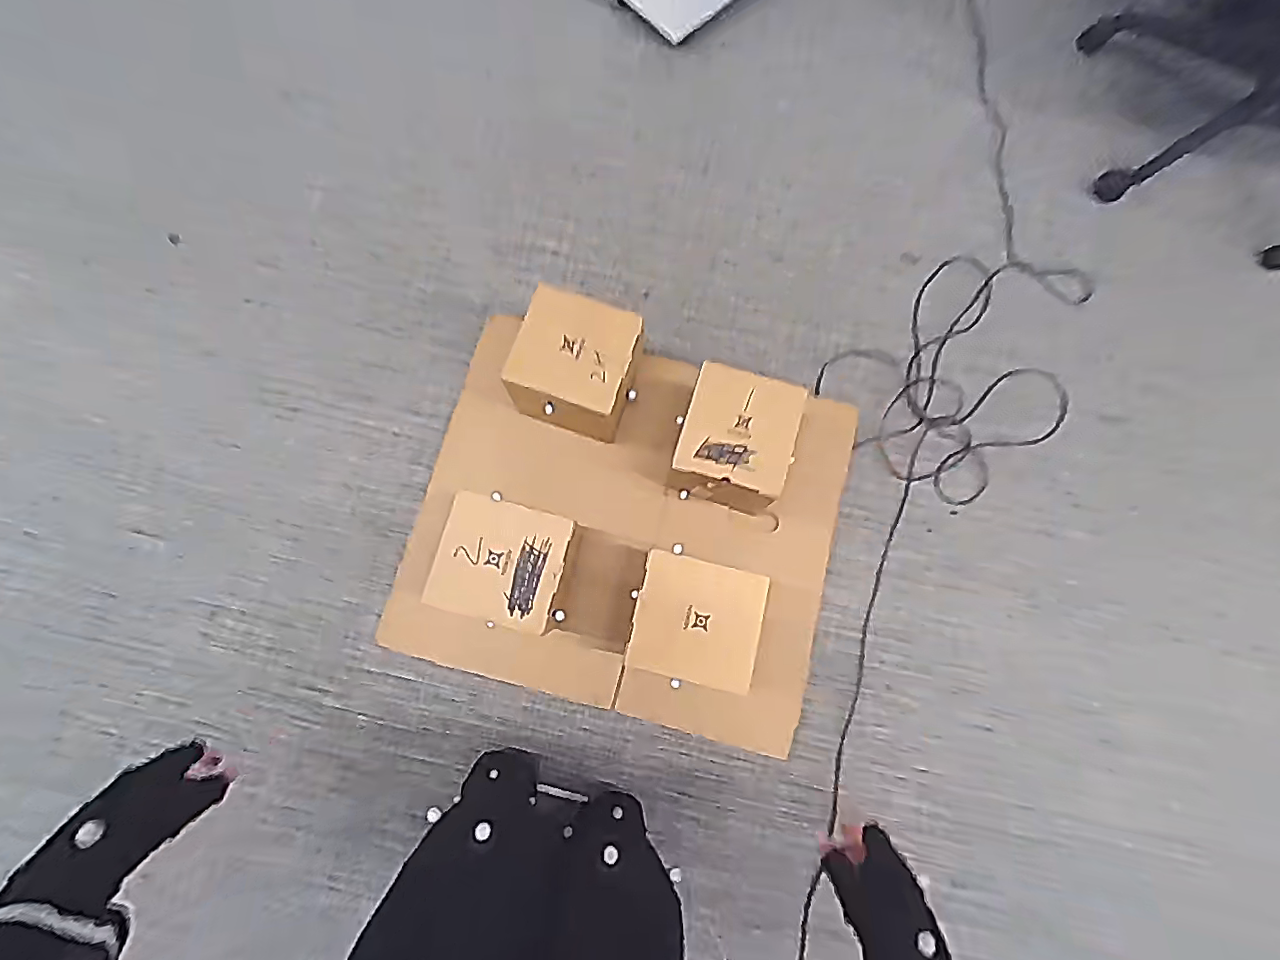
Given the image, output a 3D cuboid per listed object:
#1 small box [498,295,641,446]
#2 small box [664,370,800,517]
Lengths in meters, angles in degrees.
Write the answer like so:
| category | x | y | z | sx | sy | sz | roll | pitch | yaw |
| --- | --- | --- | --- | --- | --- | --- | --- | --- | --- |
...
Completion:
| category | x | y | z | sx | sy | sz | roll | pitch | yaw |
| --- | --- | --- | --- | --- | --- | --- | --- | --- | --- |
| small box | -0.108 | -0.170 | 0.898 | 0.179 | 0.176 | 0.168 | 19 | 79 | 2 |
| small box | 0.142 | -0.049 | 0.884 | 0.168 | 0.176 | 0.179 | 17 | 78 | 4 |
